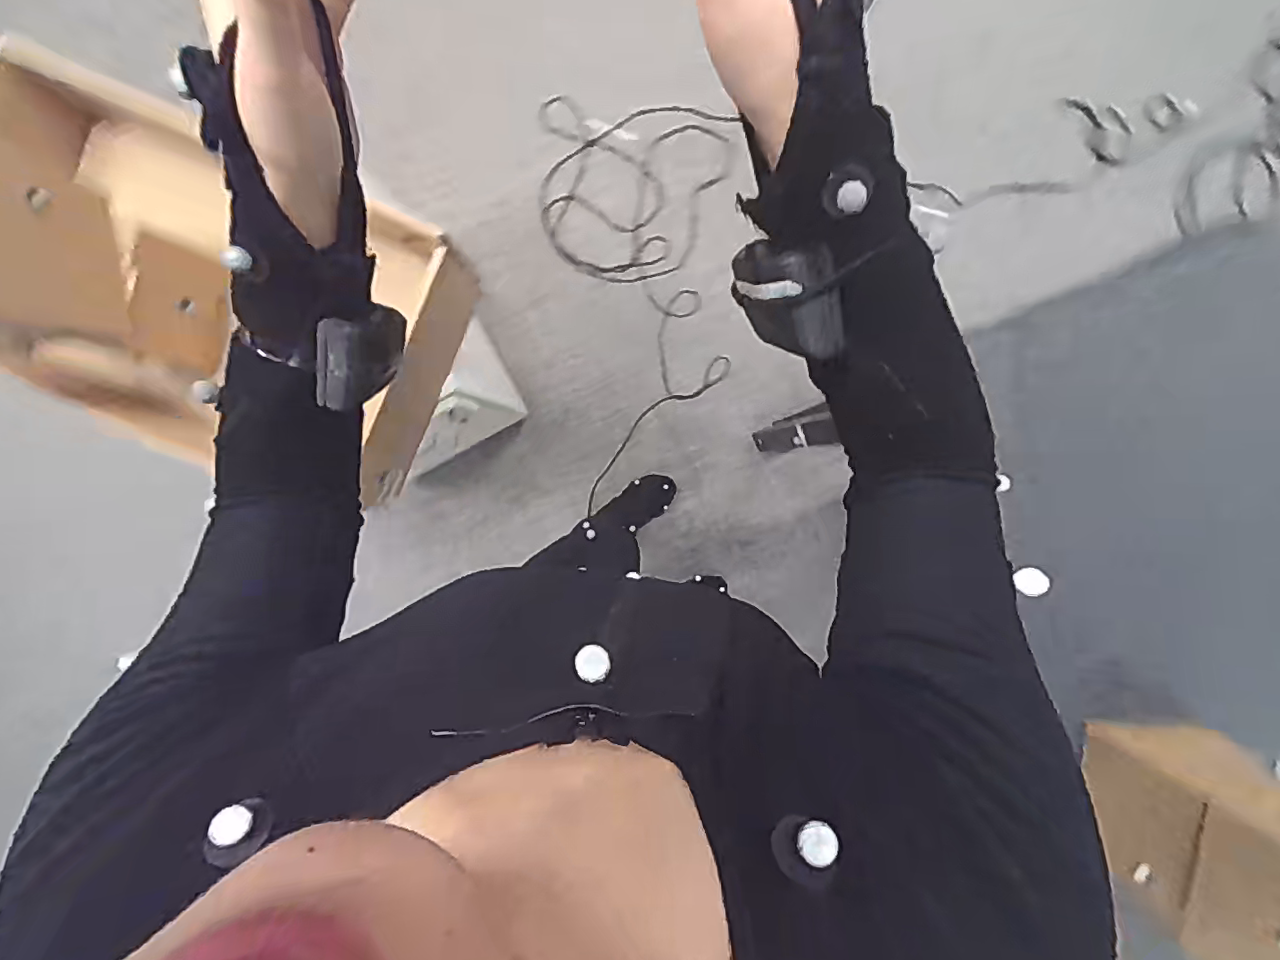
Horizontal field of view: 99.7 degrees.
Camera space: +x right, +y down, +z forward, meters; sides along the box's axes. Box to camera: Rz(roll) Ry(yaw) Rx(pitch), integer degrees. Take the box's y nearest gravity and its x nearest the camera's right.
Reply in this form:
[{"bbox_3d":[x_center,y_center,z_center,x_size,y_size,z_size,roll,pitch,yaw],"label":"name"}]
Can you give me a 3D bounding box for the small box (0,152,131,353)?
[{"bbox_3d":[-0.715,-0.244,0.584,0.168,0.176,0.179,-6,95,1],"label":"small box"}]
